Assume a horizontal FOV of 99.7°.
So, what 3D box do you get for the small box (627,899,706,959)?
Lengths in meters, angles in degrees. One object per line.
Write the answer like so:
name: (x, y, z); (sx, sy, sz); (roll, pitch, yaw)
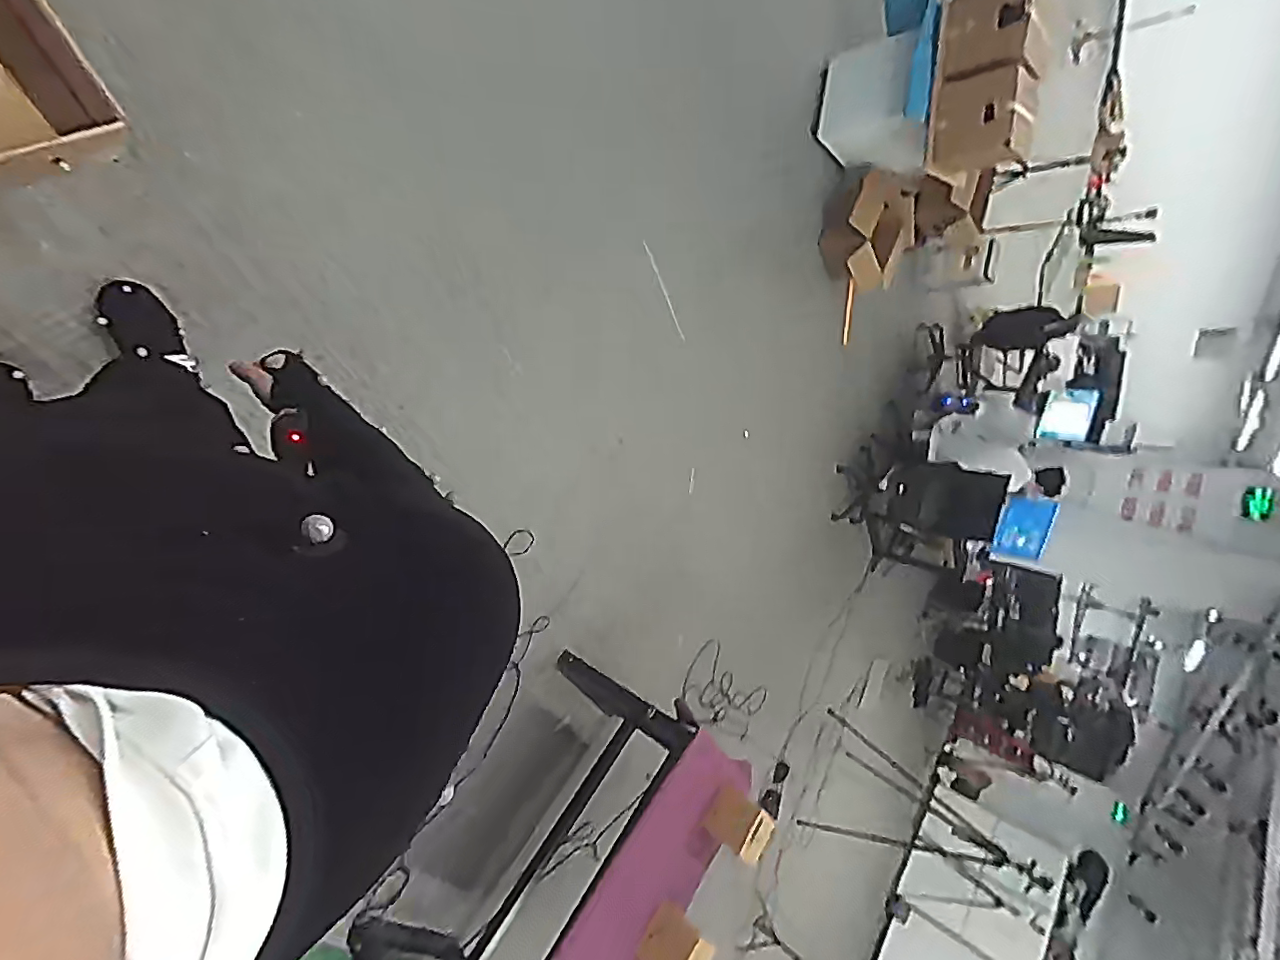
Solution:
small box: (0.089, 1.563, 1.819); (0.168, 0.176, 0.179); (-47, 129, -25)
